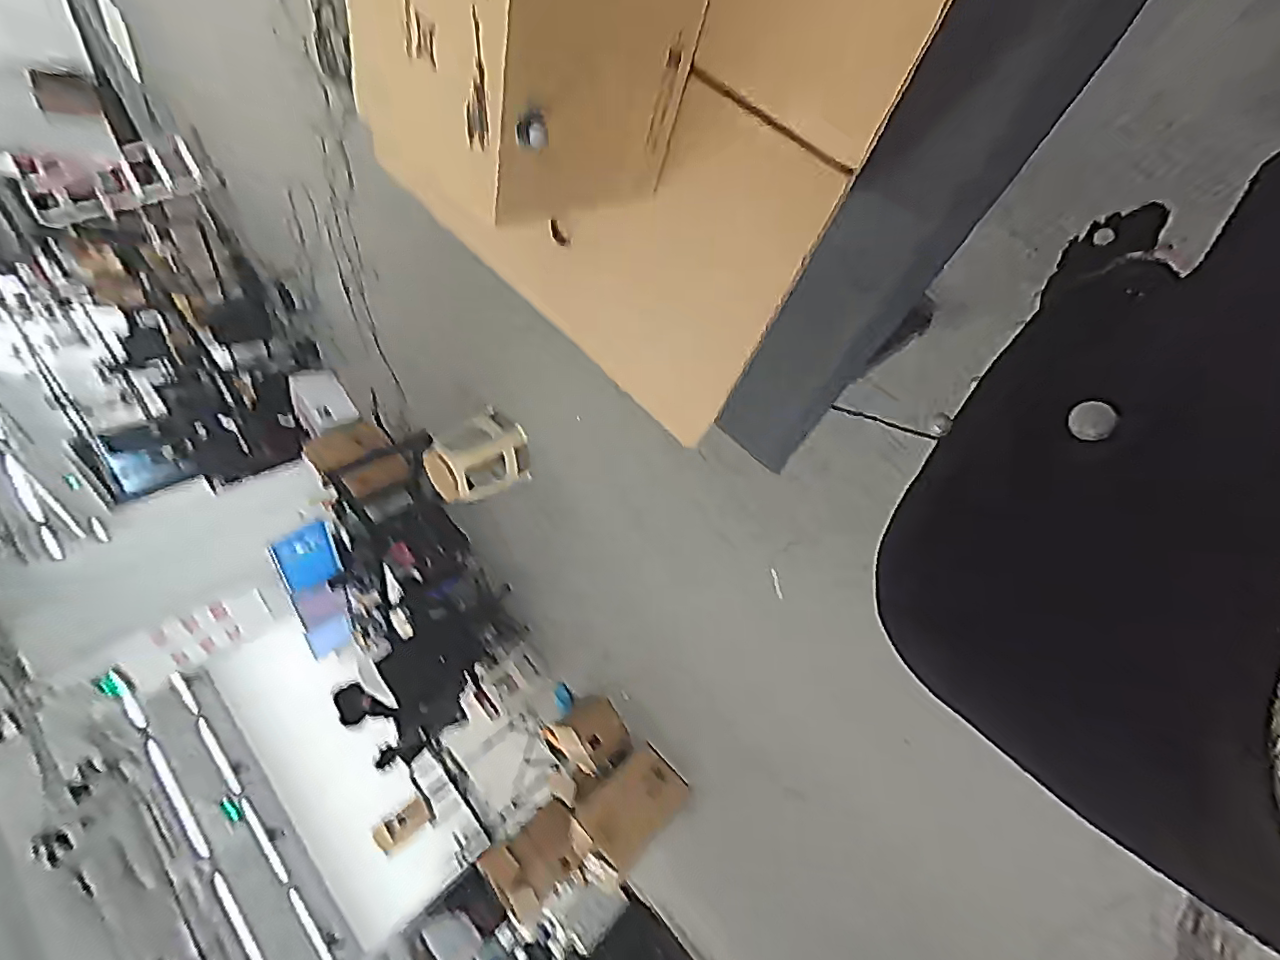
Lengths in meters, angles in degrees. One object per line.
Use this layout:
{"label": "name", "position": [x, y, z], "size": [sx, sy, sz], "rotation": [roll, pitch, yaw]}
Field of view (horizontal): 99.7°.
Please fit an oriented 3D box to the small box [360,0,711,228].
{"label": "small box", "position": [-0.082, -0.317, 0.396], "size": [0.179, 0.176, 0.168], "rotation": [45, 143, 17]}
